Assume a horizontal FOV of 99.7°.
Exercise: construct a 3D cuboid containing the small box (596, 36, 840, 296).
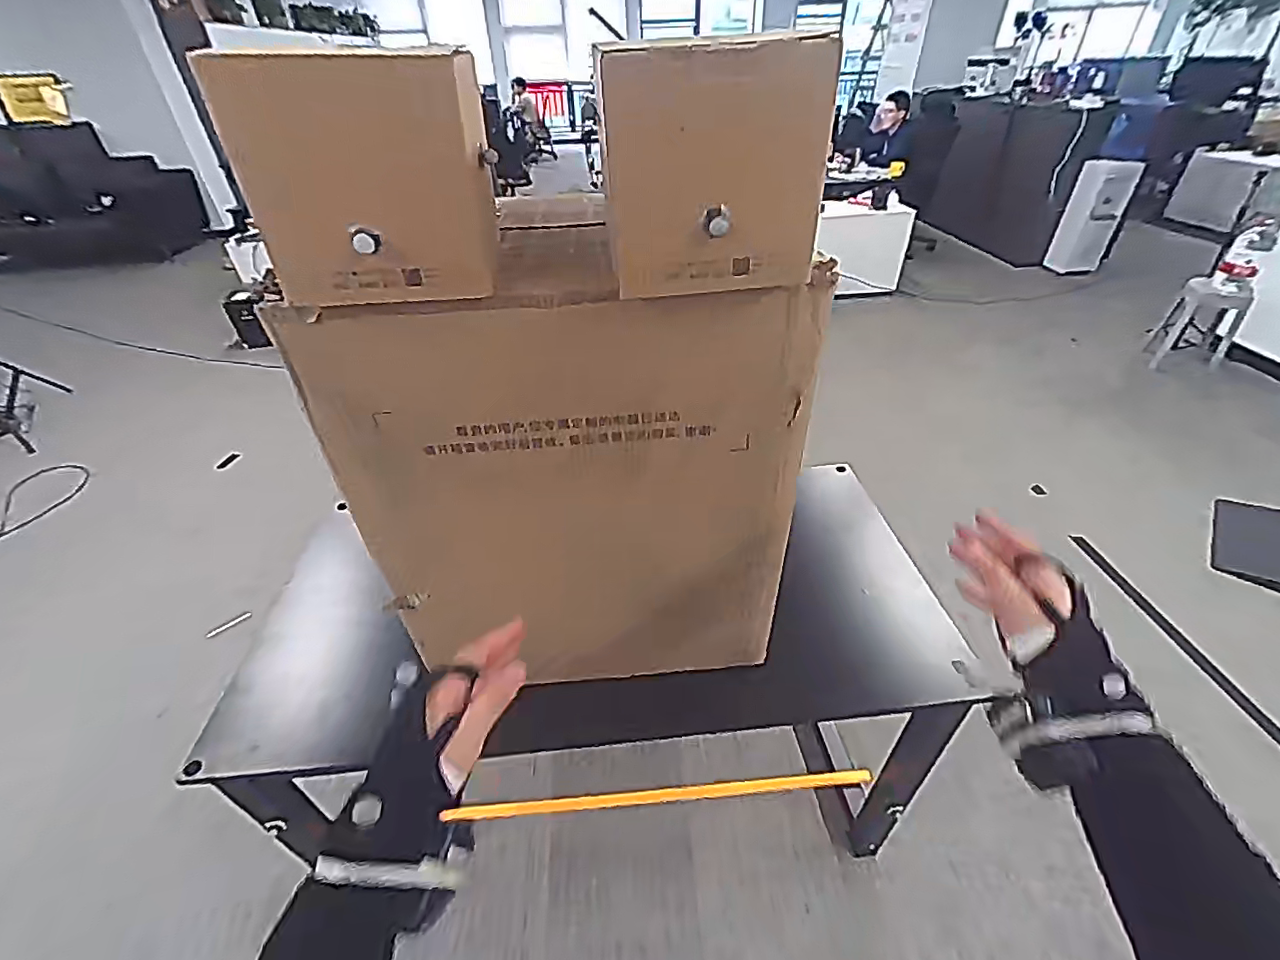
[{"bbox_3d":[0.051,-0.276,0.475,0.168,0.176,0.179,-6,40,-2],"label":"small box"}]
